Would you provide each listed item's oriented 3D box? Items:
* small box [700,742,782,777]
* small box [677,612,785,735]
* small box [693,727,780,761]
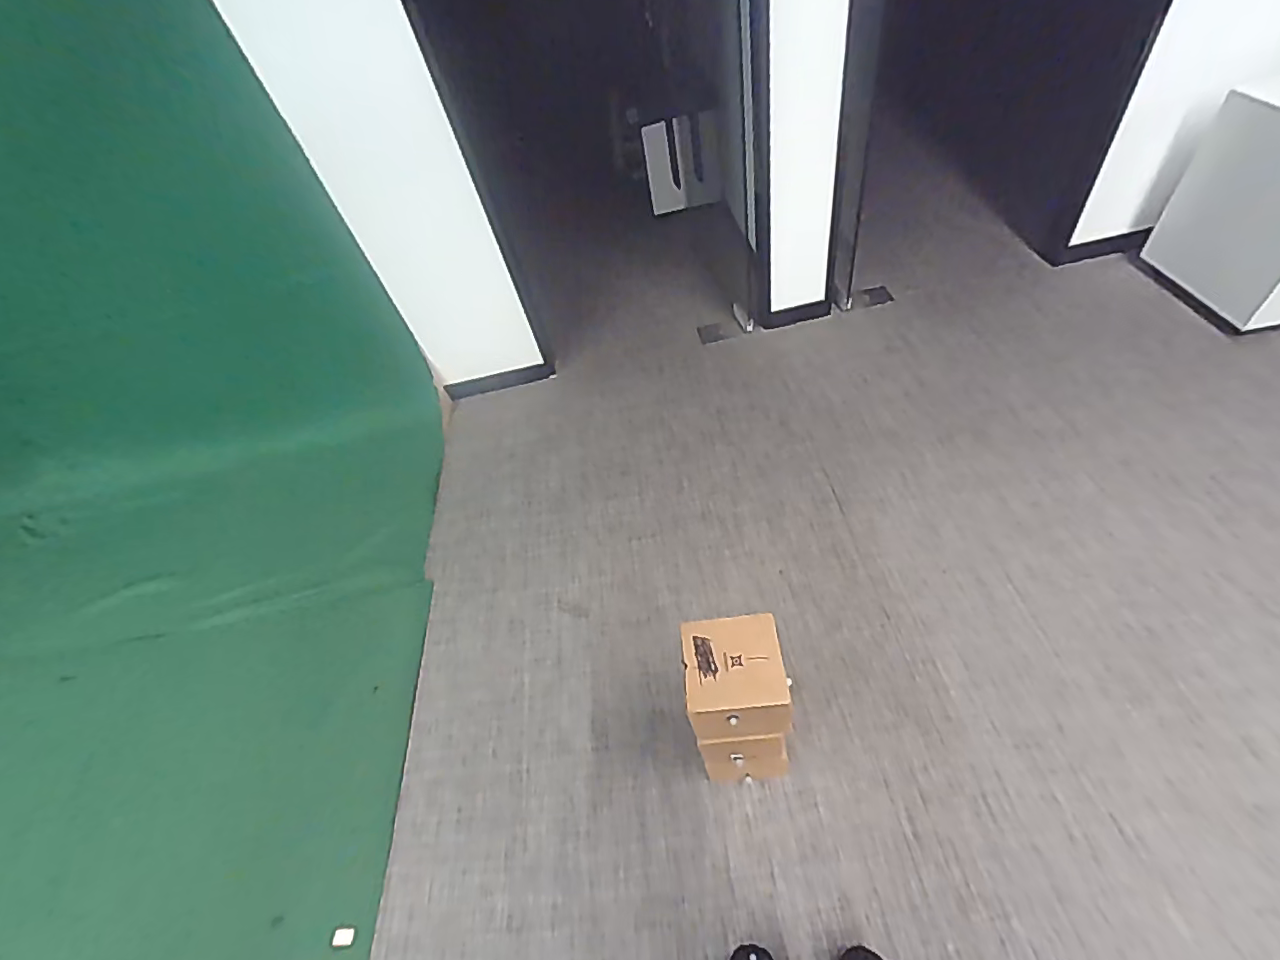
[{"bbox_3d":[0.228,0.582,1.262,0.179,0.176,0.168,-8,49,7],"label":"small box"},{"bbox_3d":[0.172,0.369,1.020,0.179,0.176,0.168,-8,49,8],"label":"small box"},{"bbox_3d":[0.197,0.475,1.144,0.168,0.176,0.179,-10,50,8],"label":"small box"}]
